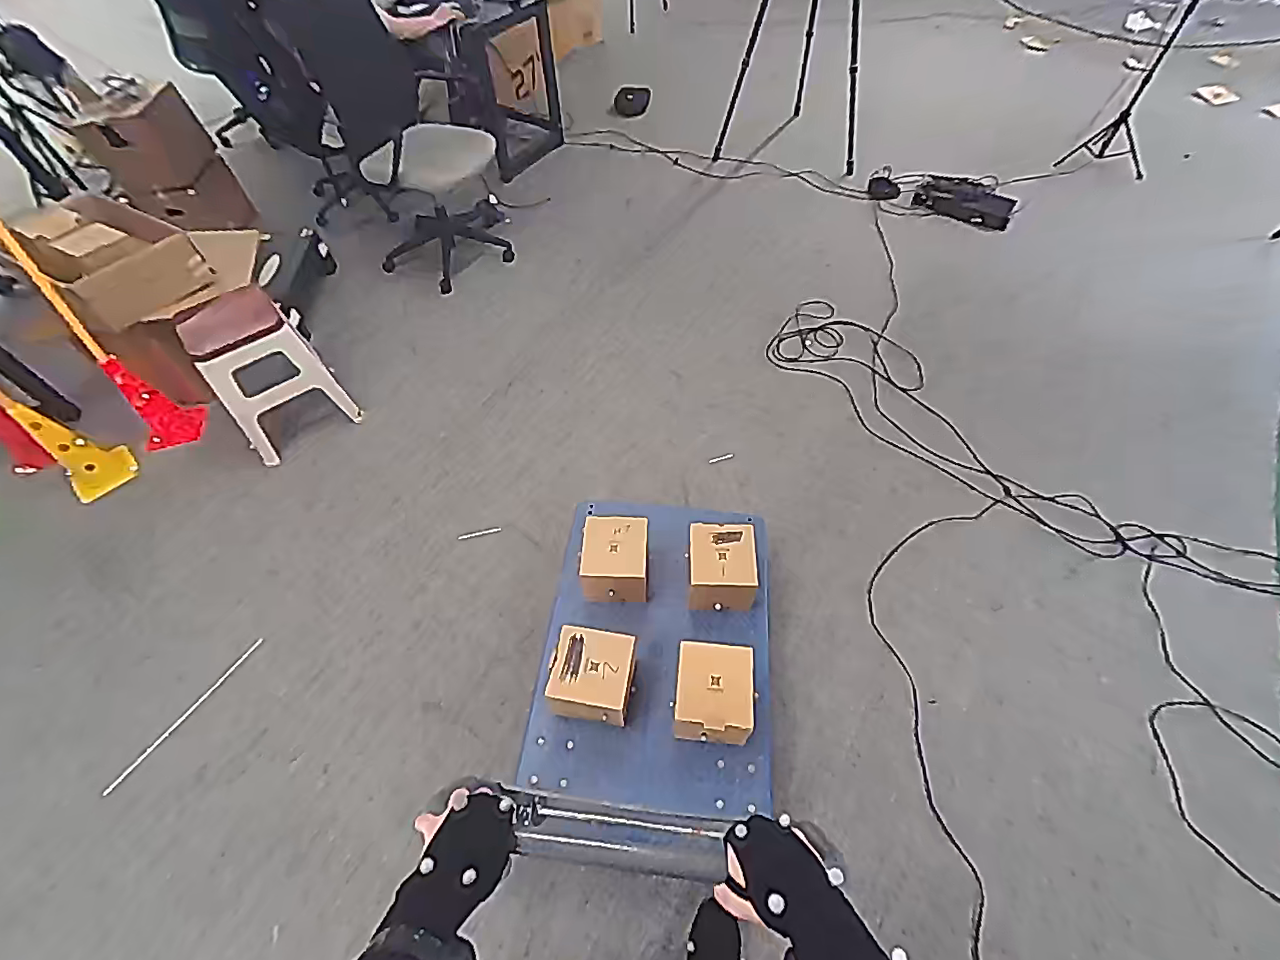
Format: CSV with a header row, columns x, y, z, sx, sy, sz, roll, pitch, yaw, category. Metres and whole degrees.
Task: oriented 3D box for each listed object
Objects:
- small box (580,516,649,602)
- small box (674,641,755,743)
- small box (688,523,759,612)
x,y,z,sx,sy,sz,roll,pitch,yaw,category
-0.061,0.214,1.444,0.168,0.176,0.179,2,55,2,small box
0.168,0.490,1.246,0.168,0.176,0.179,5,56,4,small box
0.214,0.232,1.426,0.168,0.176,0.179,1,56,3,small box
